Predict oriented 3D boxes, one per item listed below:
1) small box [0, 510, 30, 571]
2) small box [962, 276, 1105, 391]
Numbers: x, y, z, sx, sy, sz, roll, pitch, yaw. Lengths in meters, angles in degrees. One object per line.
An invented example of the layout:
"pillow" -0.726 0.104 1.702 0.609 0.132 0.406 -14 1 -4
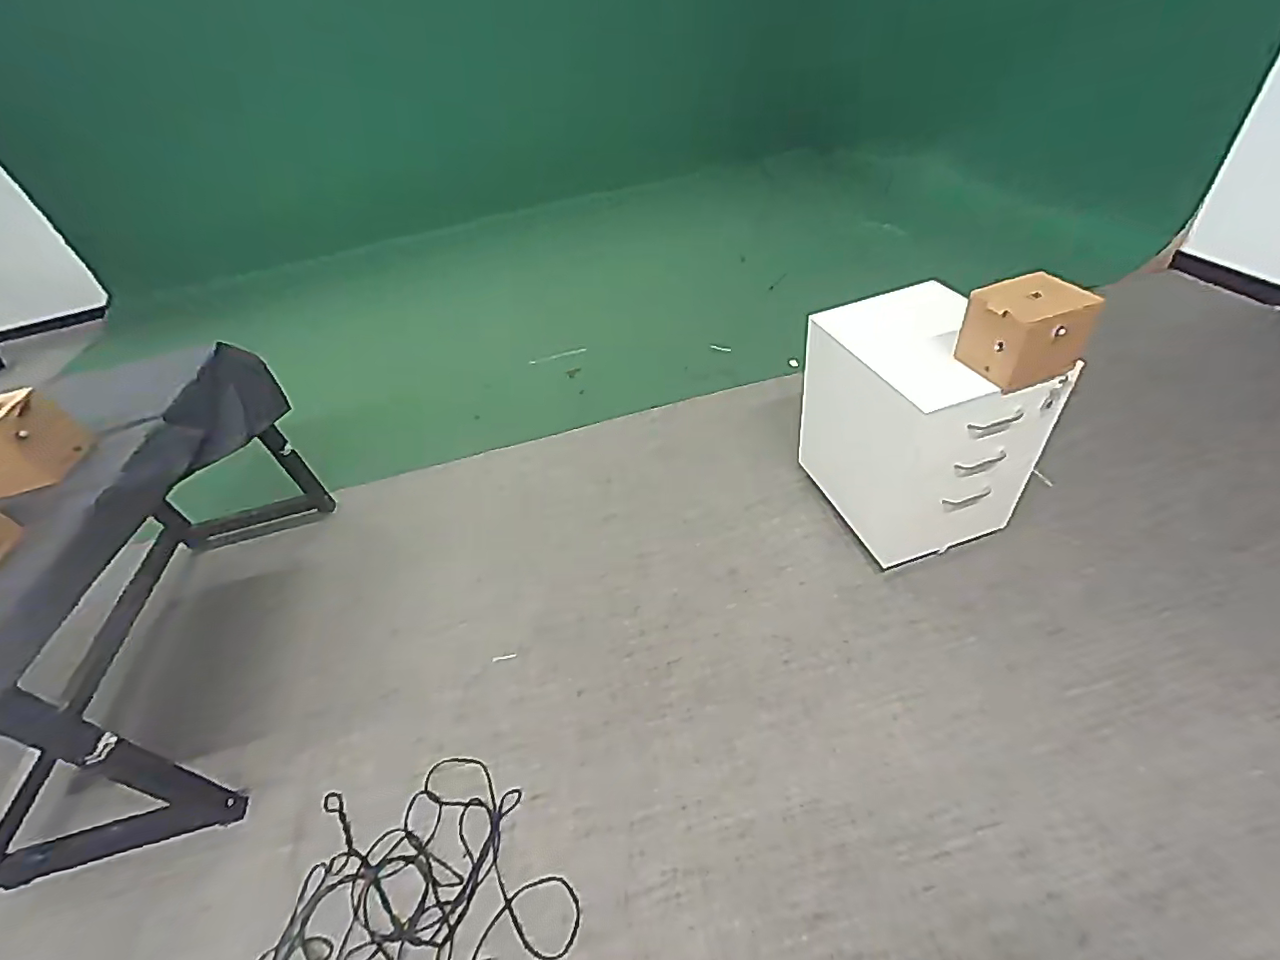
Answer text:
"small box" -1.352 0.127 1.017 0.179 0.176 0.168 -15 42 -3
"small box" 0.839 -0.317 1.179 0.179 0.176 0.168 -17 43 -6
